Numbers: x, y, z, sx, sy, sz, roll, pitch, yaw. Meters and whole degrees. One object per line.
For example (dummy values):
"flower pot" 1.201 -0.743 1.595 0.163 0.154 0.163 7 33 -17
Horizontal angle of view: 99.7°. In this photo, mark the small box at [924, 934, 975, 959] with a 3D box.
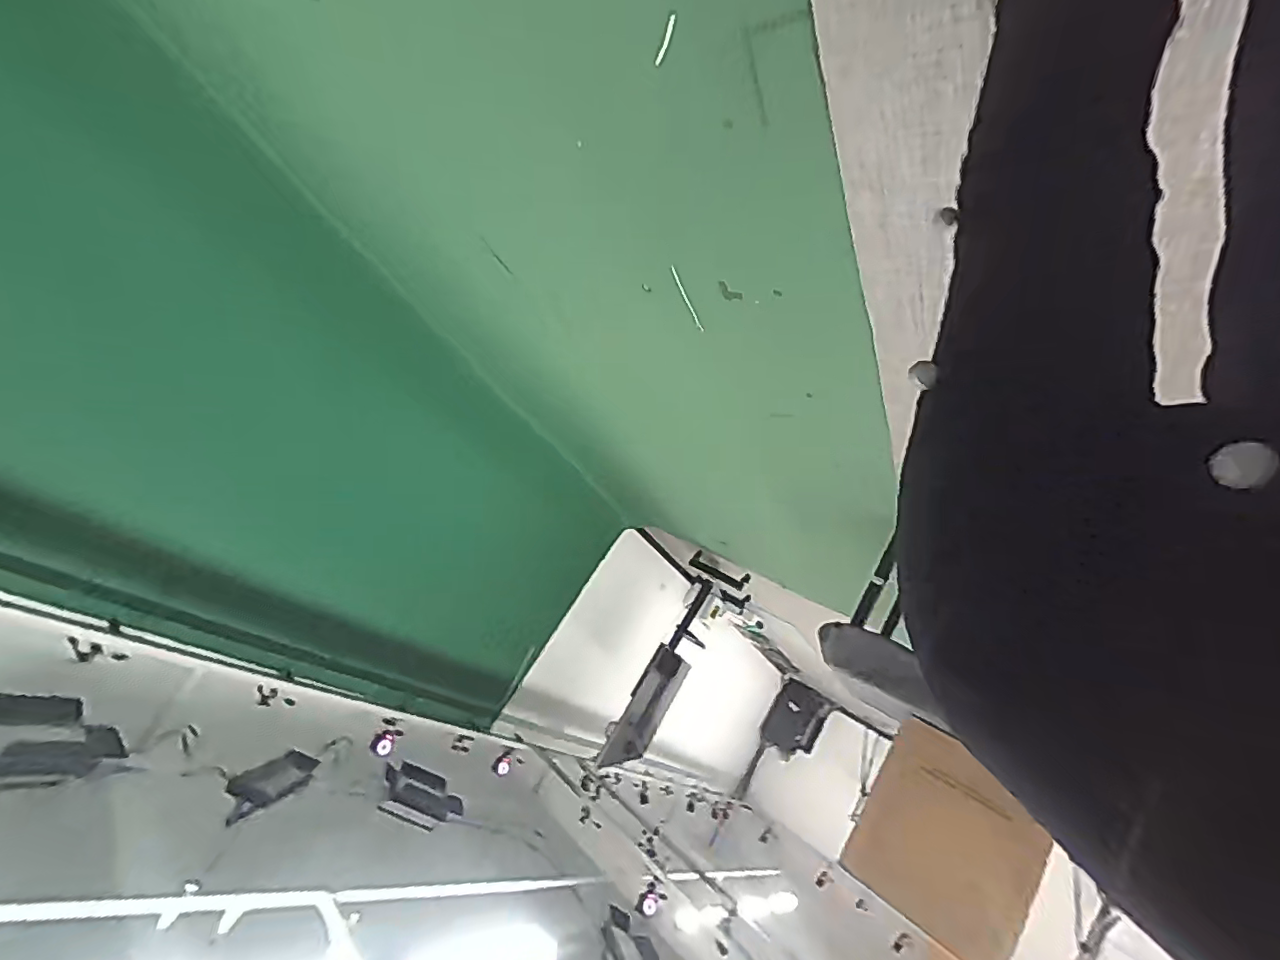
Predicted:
"small box" 1.048 1.660 1.800 0.179 0.176 0.168 19 158 44
